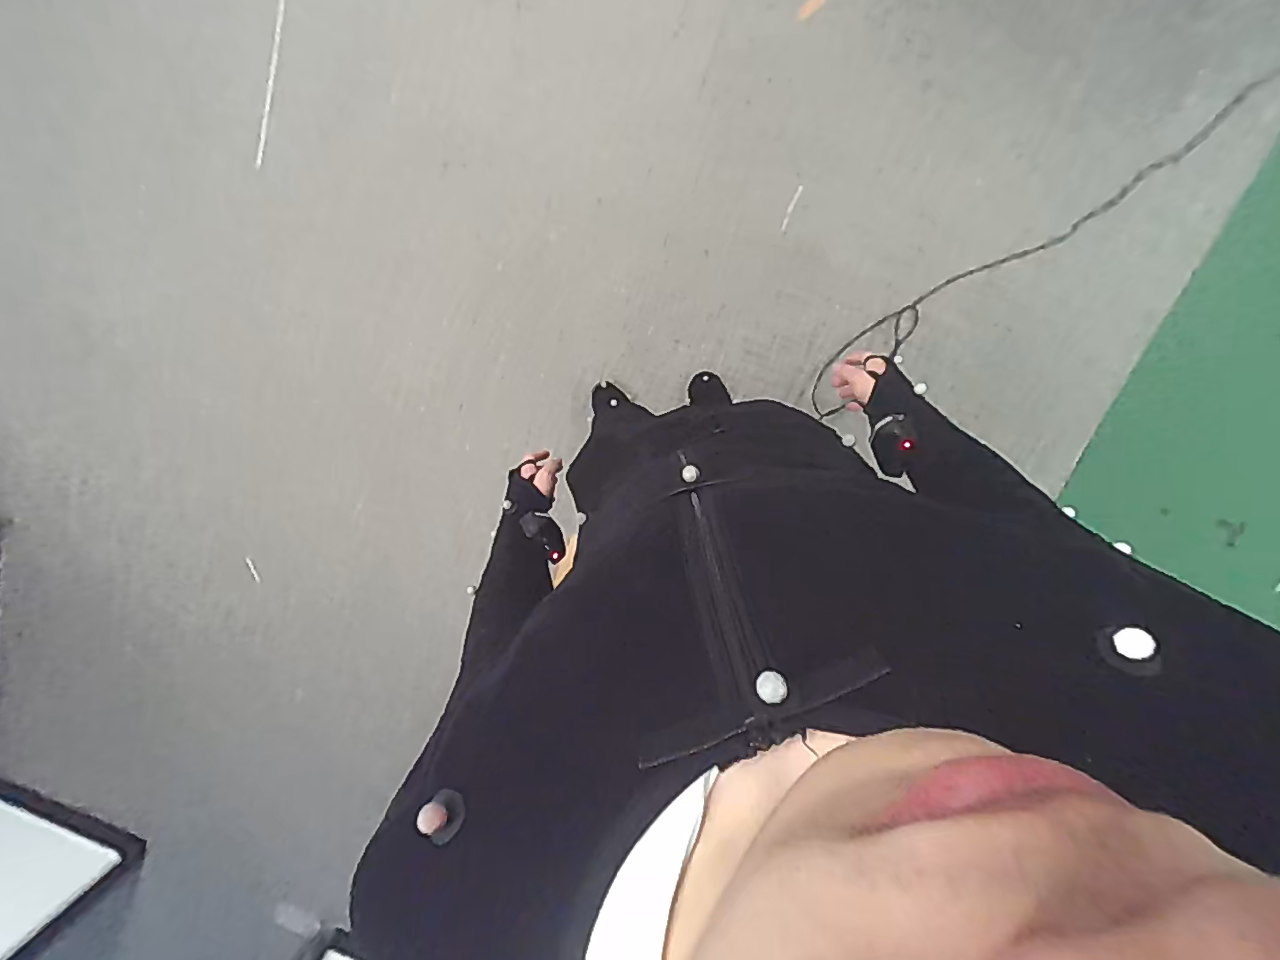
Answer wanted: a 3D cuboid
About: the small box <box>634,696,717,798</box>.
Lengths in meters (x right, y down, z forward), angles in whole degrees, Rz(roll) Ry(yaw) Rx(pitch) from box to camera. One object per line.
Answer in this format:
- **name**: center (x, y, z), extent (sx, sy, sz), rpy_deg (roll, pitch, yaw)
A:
- **small box**: center (0.105, 0.755, 1.554), extent (0.179, 0.176, 0.168), rpy_deg (29, 105, 0)
